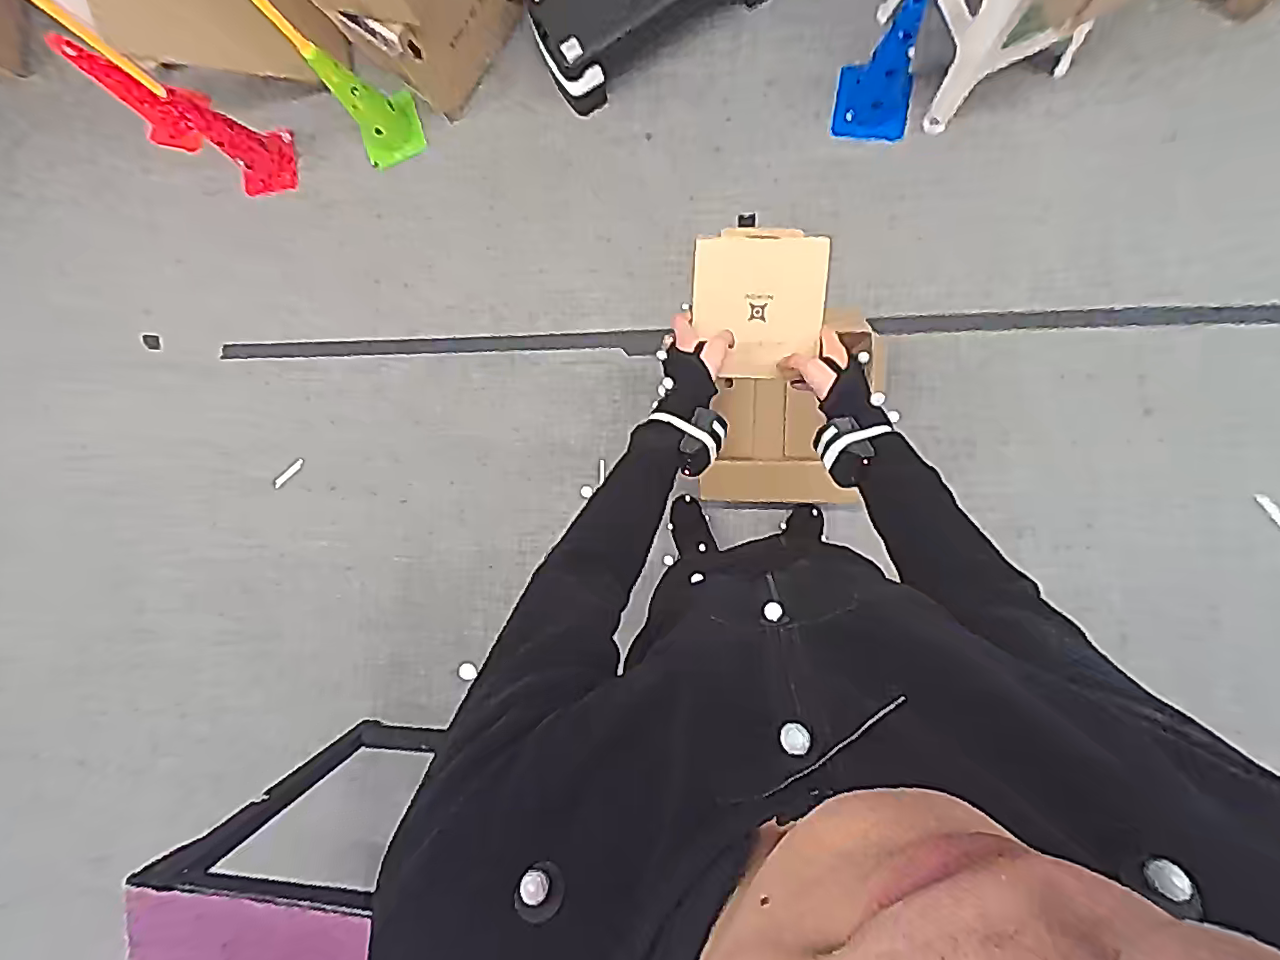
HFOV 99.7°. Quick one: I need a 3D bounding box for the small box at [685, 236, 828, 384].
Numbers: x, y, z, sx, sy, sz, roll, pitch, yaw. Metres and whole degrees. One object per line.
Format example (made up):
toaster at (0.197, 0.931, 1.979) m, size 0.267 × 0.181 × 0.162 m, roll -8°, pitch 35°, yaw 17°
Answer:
small box at (0.151, -0.228, 0.761) m, size 0.168 × 0.176 × 0.179 m, roll 2°, pitch 101°, yaw 3°
